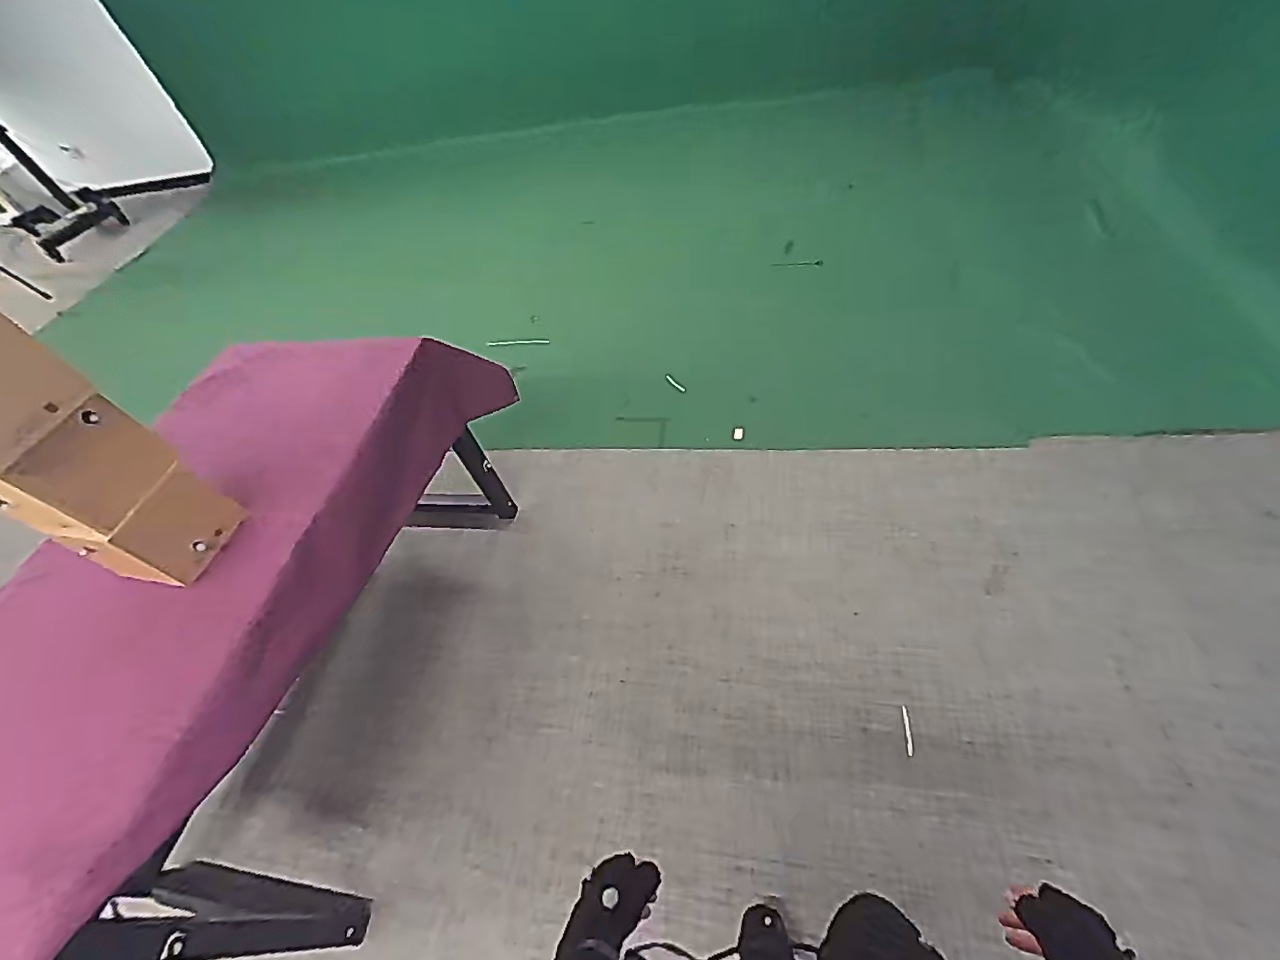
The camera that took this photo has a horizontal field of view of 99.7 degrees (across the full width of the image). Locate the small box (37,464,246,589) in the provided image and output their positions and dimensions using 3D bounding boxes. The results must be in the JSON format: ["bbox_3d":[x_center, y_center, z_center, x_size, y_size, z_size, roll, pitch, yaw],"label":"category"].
[{"bbox_3d":[-0.872,0.080,0.965,0.179,0.176,0.168,5,55,16],"label":"small box"}]

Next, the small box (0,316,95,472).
[{"bbox_3d":[-0.907,-0.121,0.711,0.179,0.176,0.168,5,55,18],"label":"small box"}]

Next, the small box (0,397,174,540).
[{"bbox_3d":[-0.901,-0.023,0.844,0.168,0.176,0.179,4,54,15],"label":"small box"}]
